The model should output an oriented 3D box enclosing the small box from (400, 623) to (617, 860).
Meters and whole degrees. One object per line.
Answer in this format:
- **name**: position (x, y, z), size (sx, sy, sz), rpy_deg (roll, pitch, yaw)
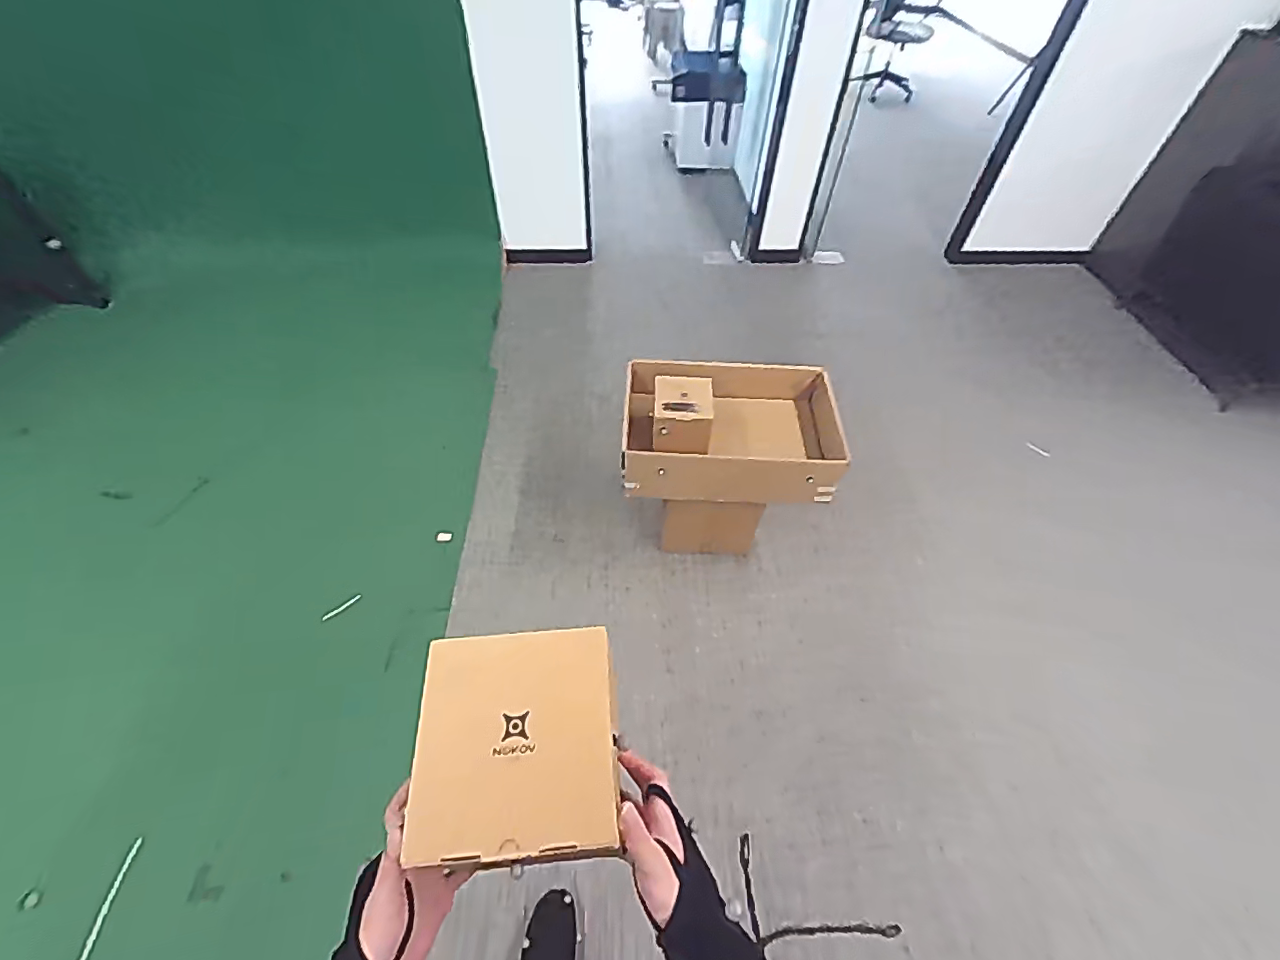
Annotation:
- **small box**: position (-0.109, 0.256, 0.525), size (0.168, 0.176, 0.179), rpy_deg (-4, 55, -3)
